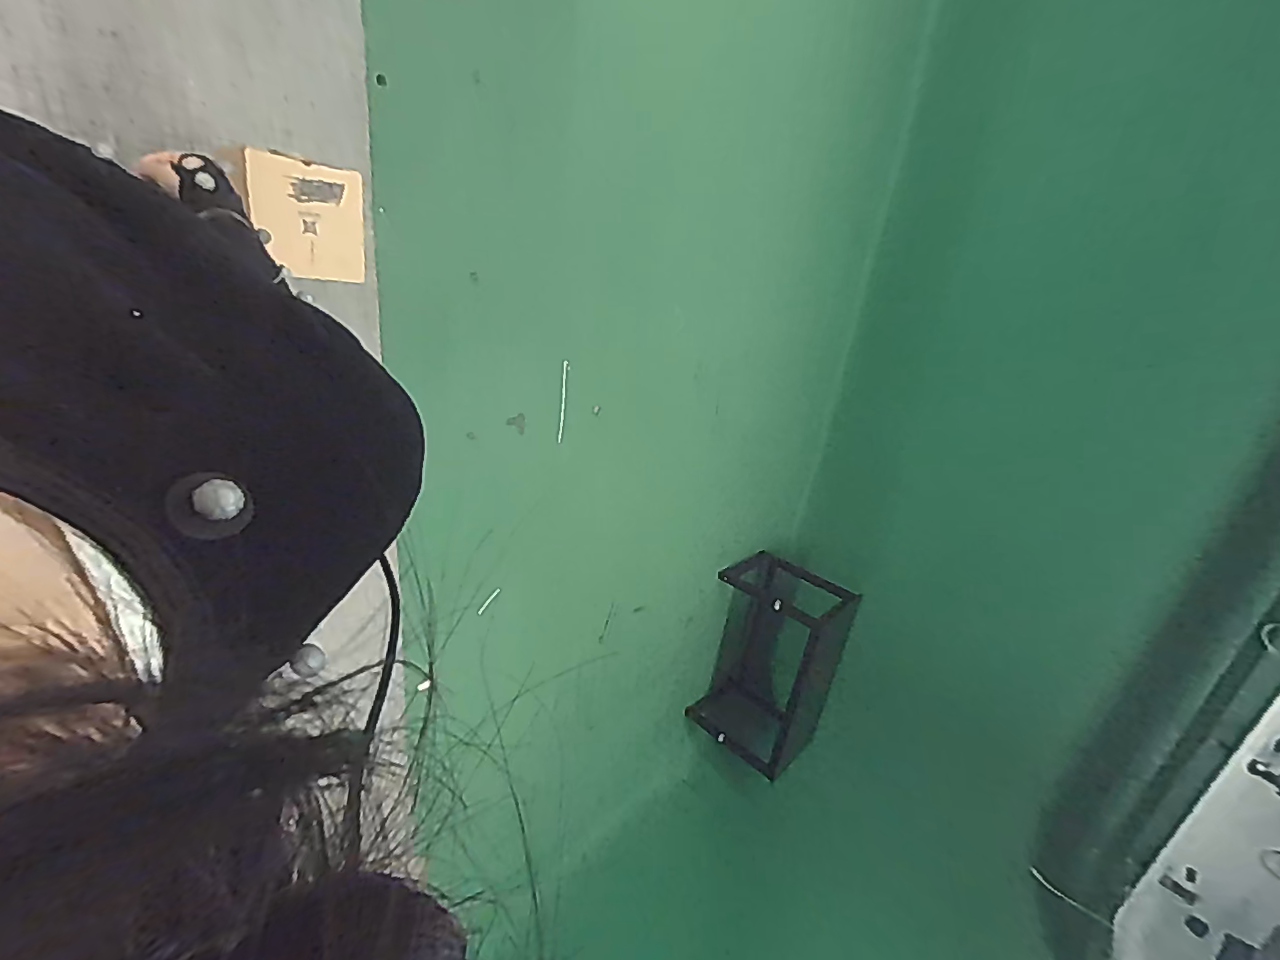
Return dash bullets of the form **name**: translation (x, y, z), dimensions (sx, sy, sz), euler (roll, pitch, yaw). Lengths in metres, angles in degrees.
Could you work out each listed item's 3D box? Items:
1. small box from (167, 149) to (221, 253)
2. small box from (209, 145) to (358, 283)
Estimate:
- **small box**: translation (-0.833, -0.545, 1.099), dimensions (0.179, 0.176, 0.168), euler (-2, 112, -50)
- **small box**: translation (-0.592, -0.439, 0.902), dimensions (0.168, 0.176, 0.179), euler (-14, 122, -47)
